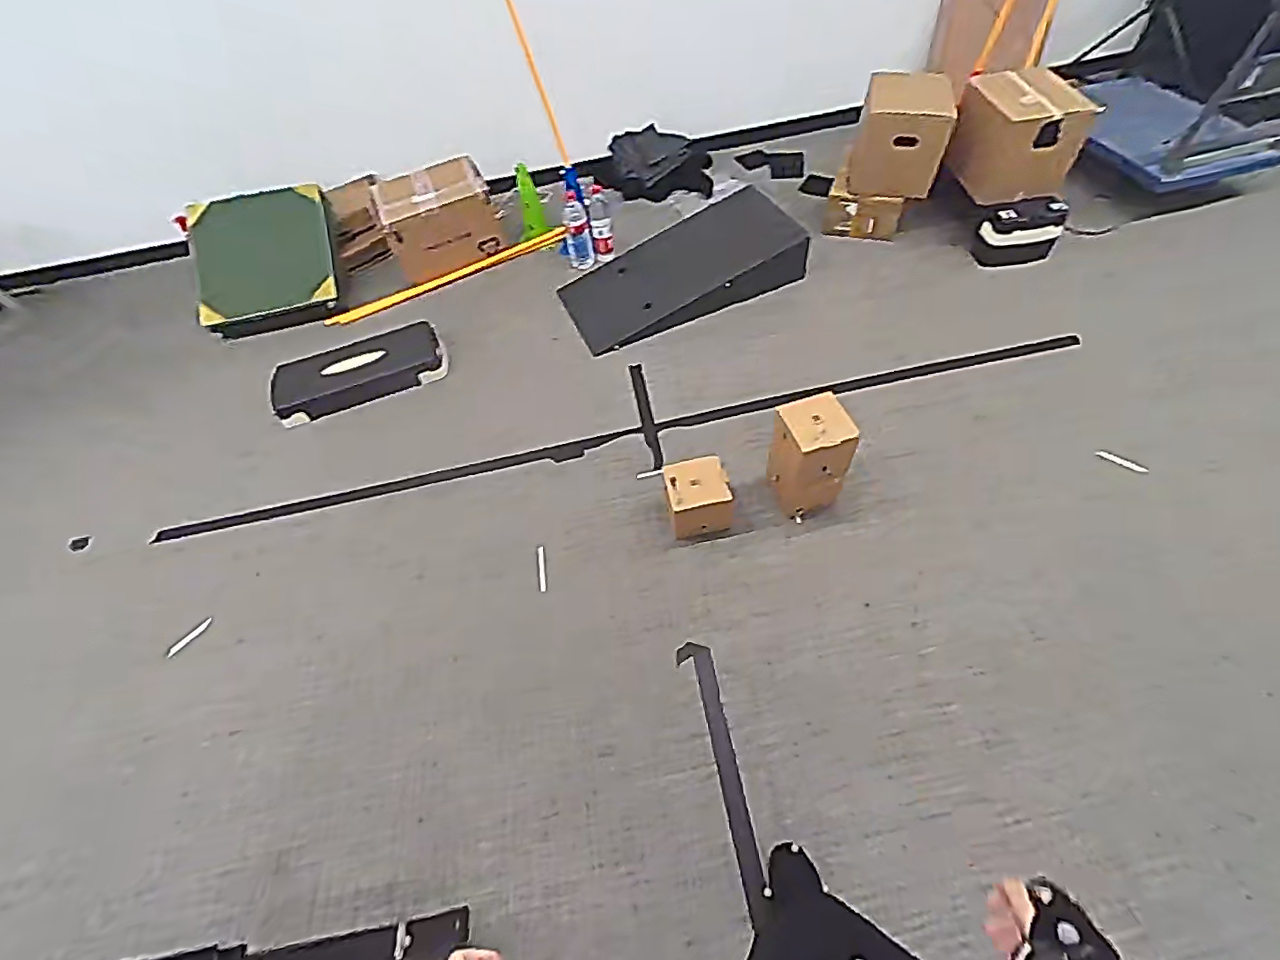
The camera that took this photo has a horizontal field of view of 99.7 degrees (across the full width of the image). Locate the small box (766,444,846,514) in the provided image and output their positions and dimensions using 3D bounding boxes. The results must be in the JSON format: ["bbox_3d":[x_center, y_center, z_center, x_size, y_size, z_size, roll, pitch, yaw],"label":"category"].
[{"bbox_3d":[0.495,-0.017,1.641,0.168,0.176,0.179,-17,54,-5],"label":"small box"}]

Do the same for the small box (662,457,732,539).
[{"bbox_3d":[0.168,0.058,1.628,0.179,0.176,0.168,-11,55,-2],"label":"small box"}]

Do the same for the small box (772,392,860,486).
[{"bbox_3d":[0.479,-0.111,1.507,0.168,0.176,0.179,-17,55,-4],"label":"small box"}]
